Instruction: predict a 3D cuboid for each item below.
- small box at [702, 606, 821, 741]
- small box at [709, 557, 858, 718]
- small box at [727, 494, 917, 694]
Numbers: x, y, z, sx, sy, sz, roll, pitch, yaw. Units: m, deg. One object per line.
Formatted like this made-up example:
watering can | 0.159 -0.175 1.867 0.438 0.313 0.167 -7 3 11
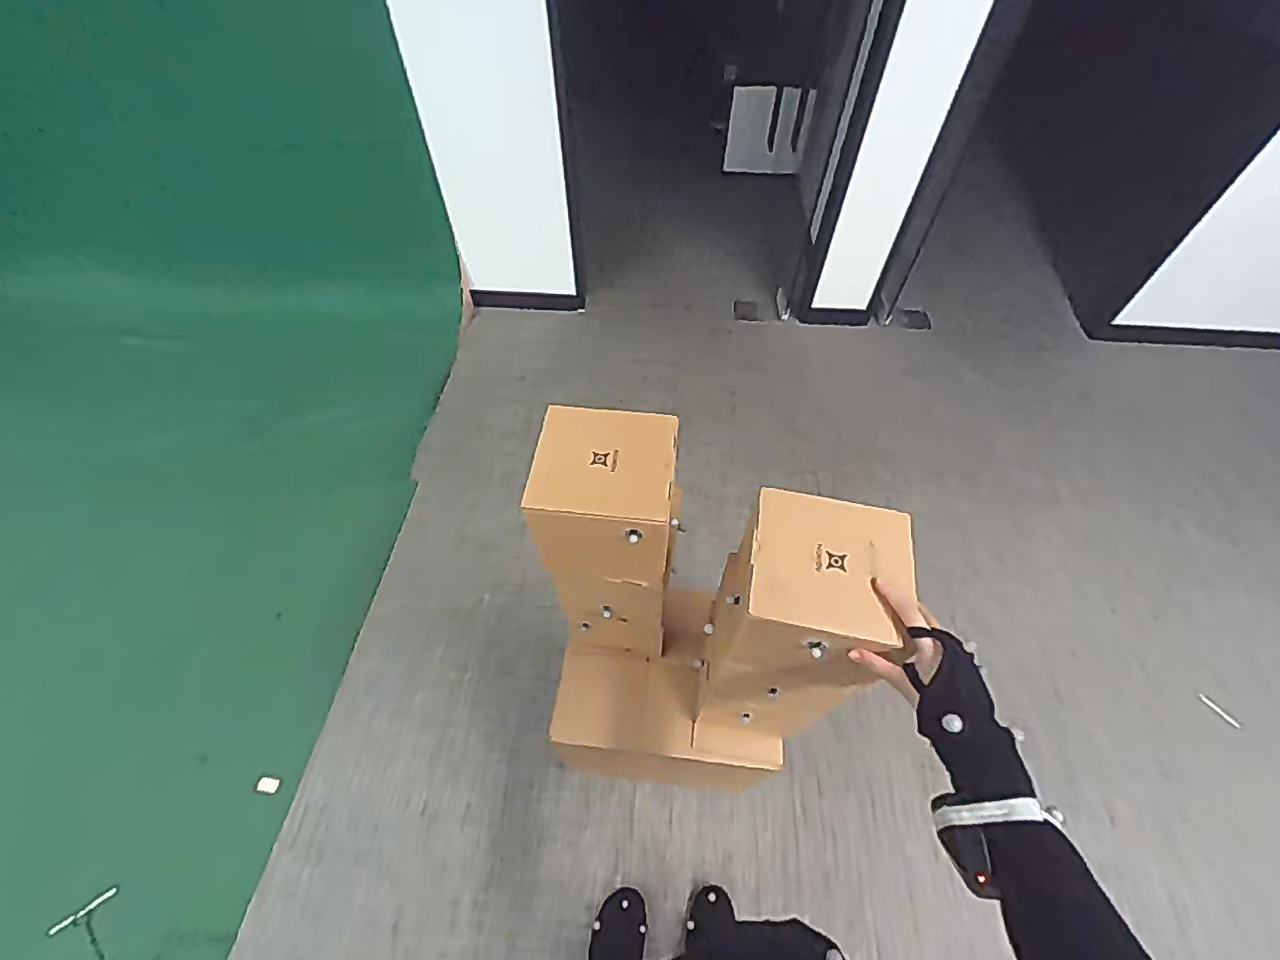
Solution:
small box | 0.200 0.332 0.919 0.179 0.176 0.168 6 56 7
small box | 0.201 0.234 0.788 0.179 0.176 0.168 7 54 7
small box | 0.208 0.142 0.654 0.179 0.176 0.168 11 55 7
